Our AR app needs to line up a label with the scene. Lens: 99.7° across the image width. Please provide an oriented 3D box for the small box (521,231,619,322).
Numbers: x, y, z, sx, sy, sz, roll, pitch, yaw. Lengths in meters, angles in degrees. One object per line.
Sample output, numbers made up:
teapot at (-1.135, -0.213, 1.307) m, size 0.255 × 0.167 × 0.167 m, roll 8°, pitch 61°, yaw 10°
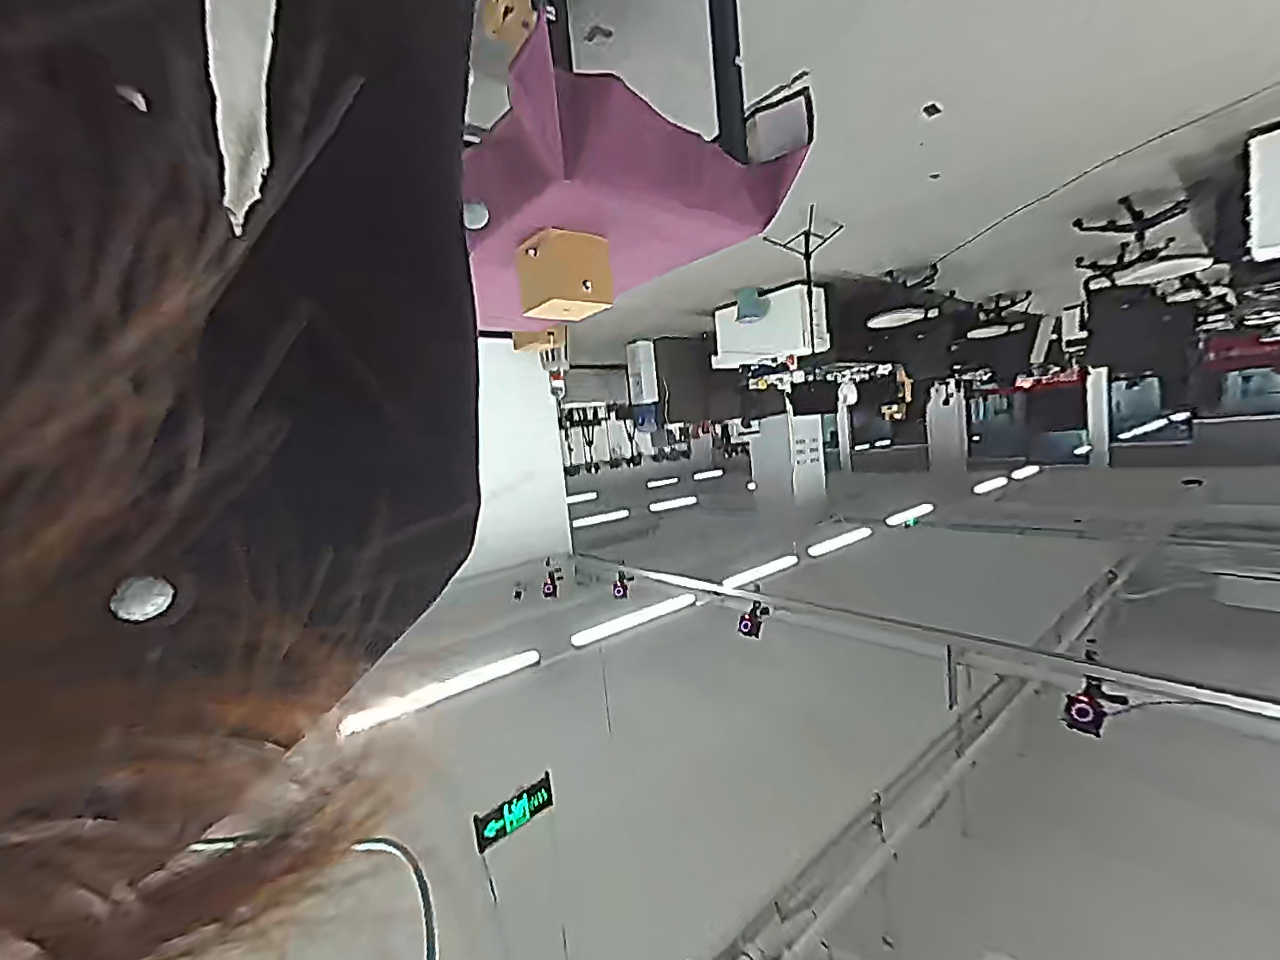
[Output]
small box at (-0.173, -0.496, 1.333) m, size 0.179 × 0.176 × 0.168 m, roll -9°, pitch -174°, yaw -39°
